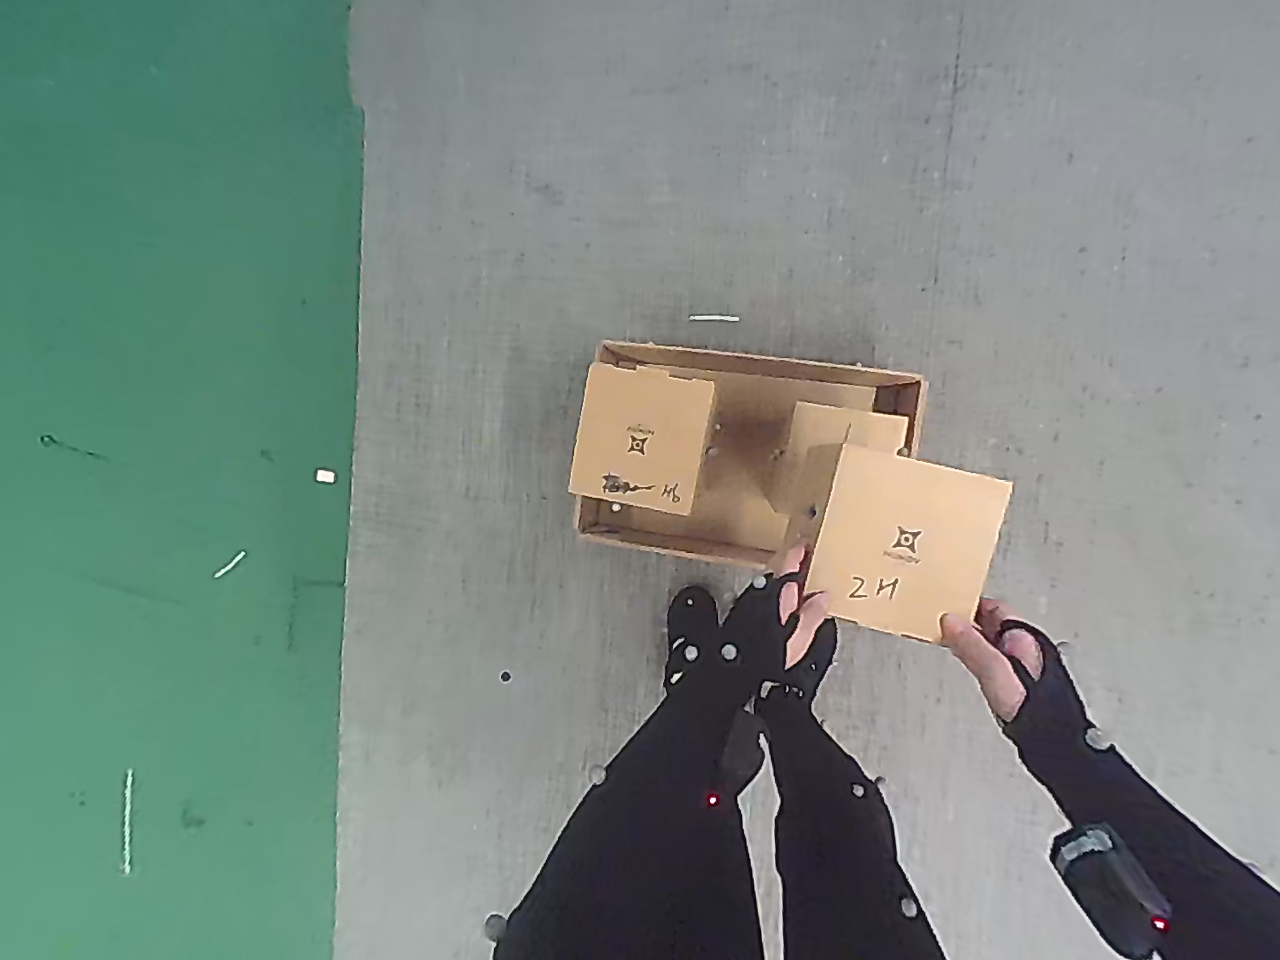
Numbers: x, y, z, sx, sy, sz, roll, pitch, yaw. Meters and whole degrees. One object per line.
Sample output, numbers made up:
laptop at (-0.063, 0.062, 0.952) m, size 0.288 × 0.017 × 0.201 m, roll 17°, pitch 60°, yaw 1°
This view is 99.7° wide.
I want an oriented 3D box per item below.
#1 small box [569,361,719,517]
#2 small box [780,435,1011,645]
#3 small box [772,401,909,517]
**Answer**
small box at (0.013, -0.053, 0.767) m, size 0.168 × 0.176 × 0.179 m, roll 11°, pitch 92°, yaw 8°
small box at (0.266, 0.056, 0.610) m, size 0.168 × 0.176 × 0.179 m, roll 15°, pitch 94°, yaw 5°
small box at (0.314, -0.020, 0.884) m, size 0.168 × 0.176 × 0.179 m, roll 11°, pitch 92°, yaw 11°
